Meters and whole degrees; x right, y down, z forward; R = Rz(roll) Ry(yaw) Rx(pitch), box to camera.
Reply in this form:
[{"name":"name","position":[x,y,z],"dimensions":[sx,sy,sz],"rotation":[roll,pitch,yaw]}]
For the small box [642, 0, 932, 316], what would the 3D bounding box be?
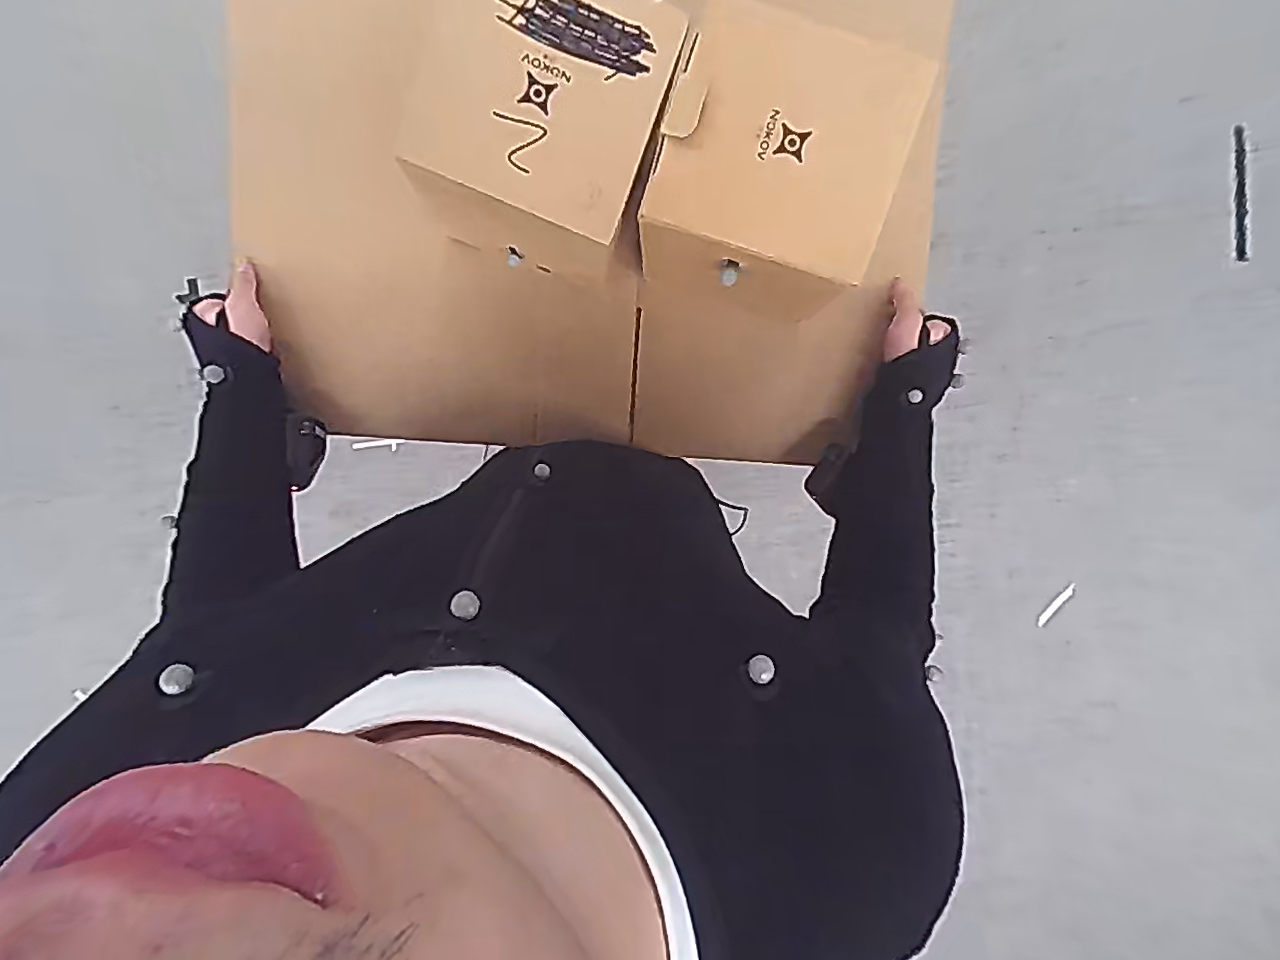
[{"name":"small box","position":[0.111,-0.259,0.483],"dimensions":[0.179,0.176,0.168],"rotation":[18,96,1]}]
